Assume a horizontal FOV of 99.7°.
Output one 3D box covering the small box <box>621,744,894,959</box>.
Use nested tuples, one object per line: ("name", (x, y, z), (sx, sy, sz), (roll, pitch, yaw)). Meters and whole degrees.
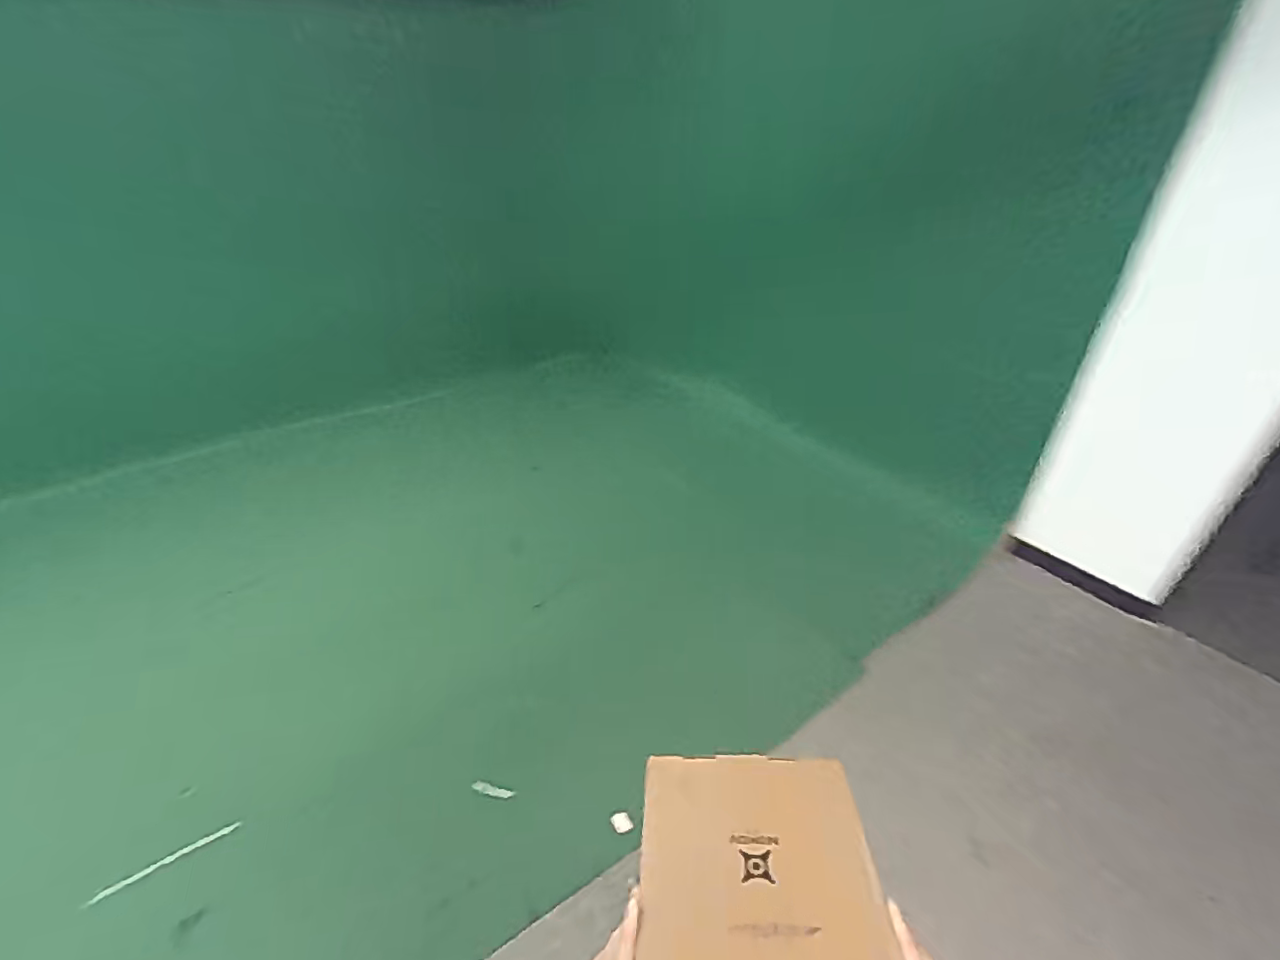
("small box", (0.076, 0.336, 0.414), (0.168, 0.176, 0.179), (-1, 24, 4))
